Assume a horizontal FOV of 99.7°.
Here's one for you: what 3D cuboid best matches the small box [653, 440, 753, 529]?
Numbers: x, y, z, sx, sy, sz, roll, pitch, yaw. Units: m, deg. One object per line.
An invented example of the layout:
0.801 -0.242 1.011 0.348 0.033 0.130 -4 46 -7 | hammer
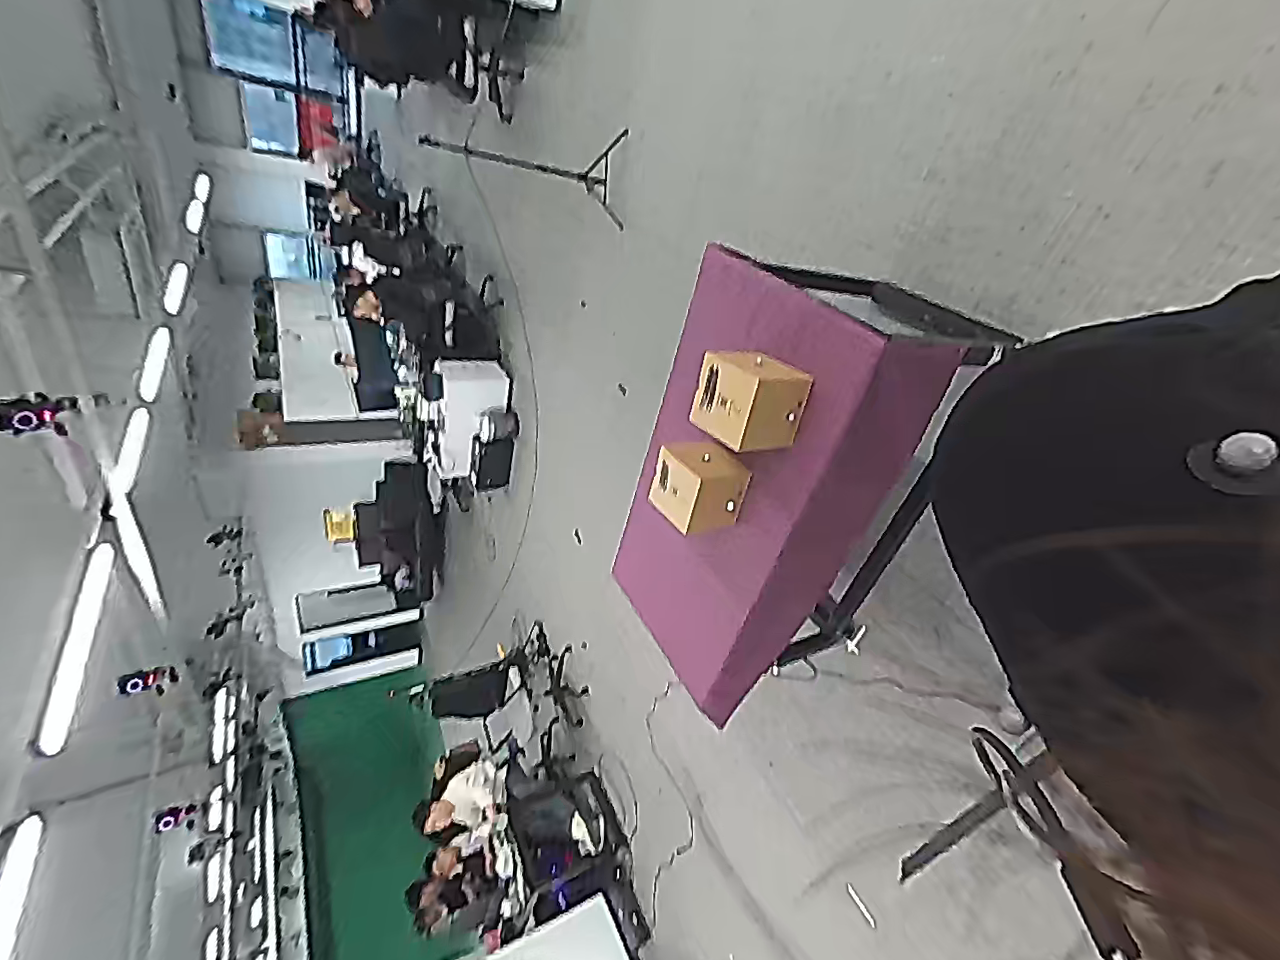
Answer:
0.162 0.004 1.408 0.179 0.176 0.168 45 133 44 | small box
